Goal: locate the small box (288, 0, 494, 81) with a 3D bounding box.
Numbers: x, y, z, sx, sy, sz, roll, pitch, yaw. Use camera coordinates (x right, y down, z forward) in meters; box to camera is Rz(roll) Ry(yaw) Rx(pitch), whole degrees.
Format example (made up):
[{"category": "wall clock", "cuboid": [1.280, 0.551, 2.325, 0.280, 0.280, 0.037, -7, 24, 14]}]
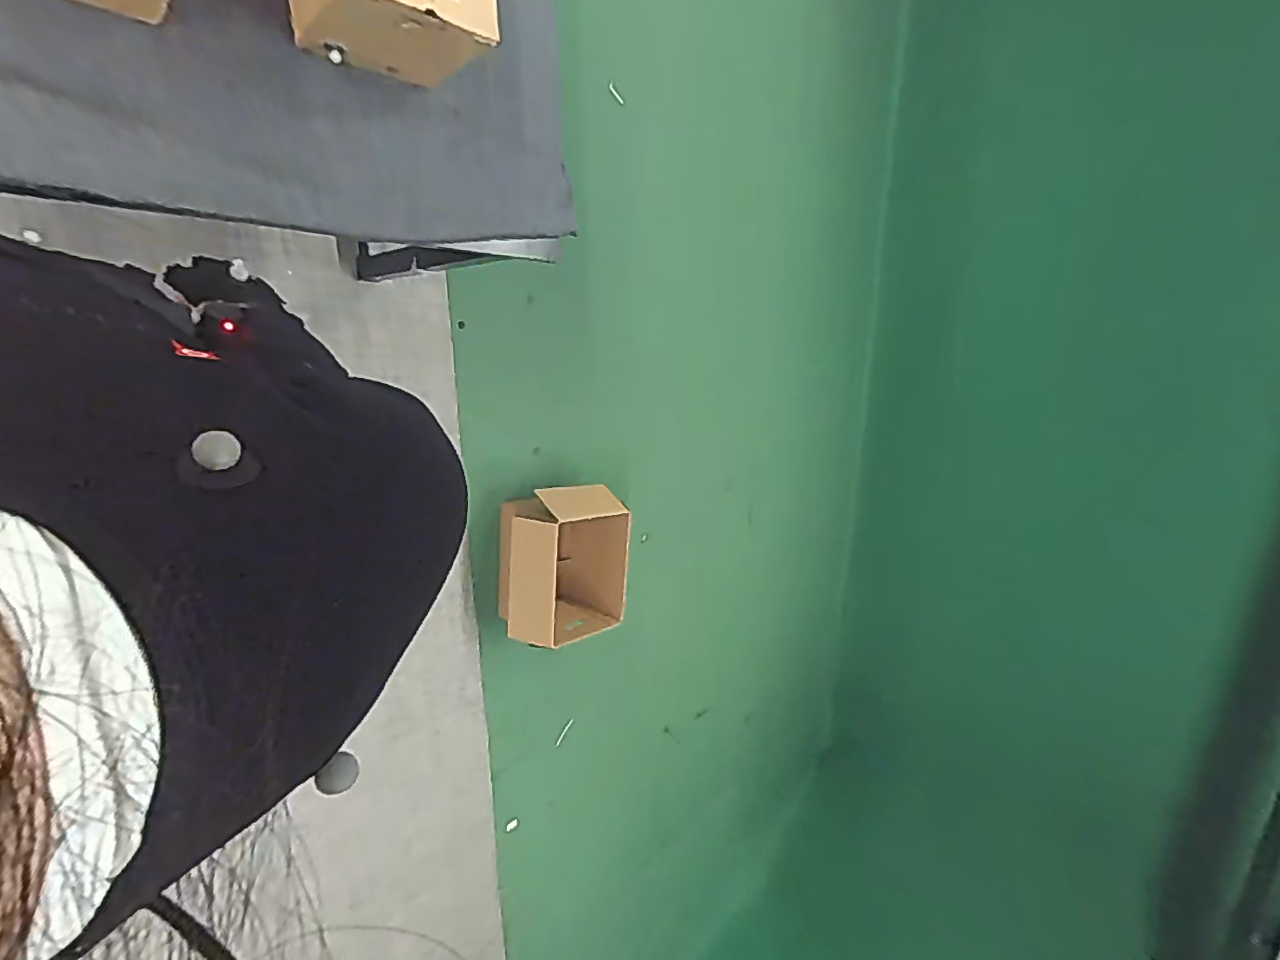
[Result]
[{"category": "small box", "cuboid": [-0.284, -0.583, 0.598, 0.168, 0.176, 0.179, -17, 112, -45]}]
